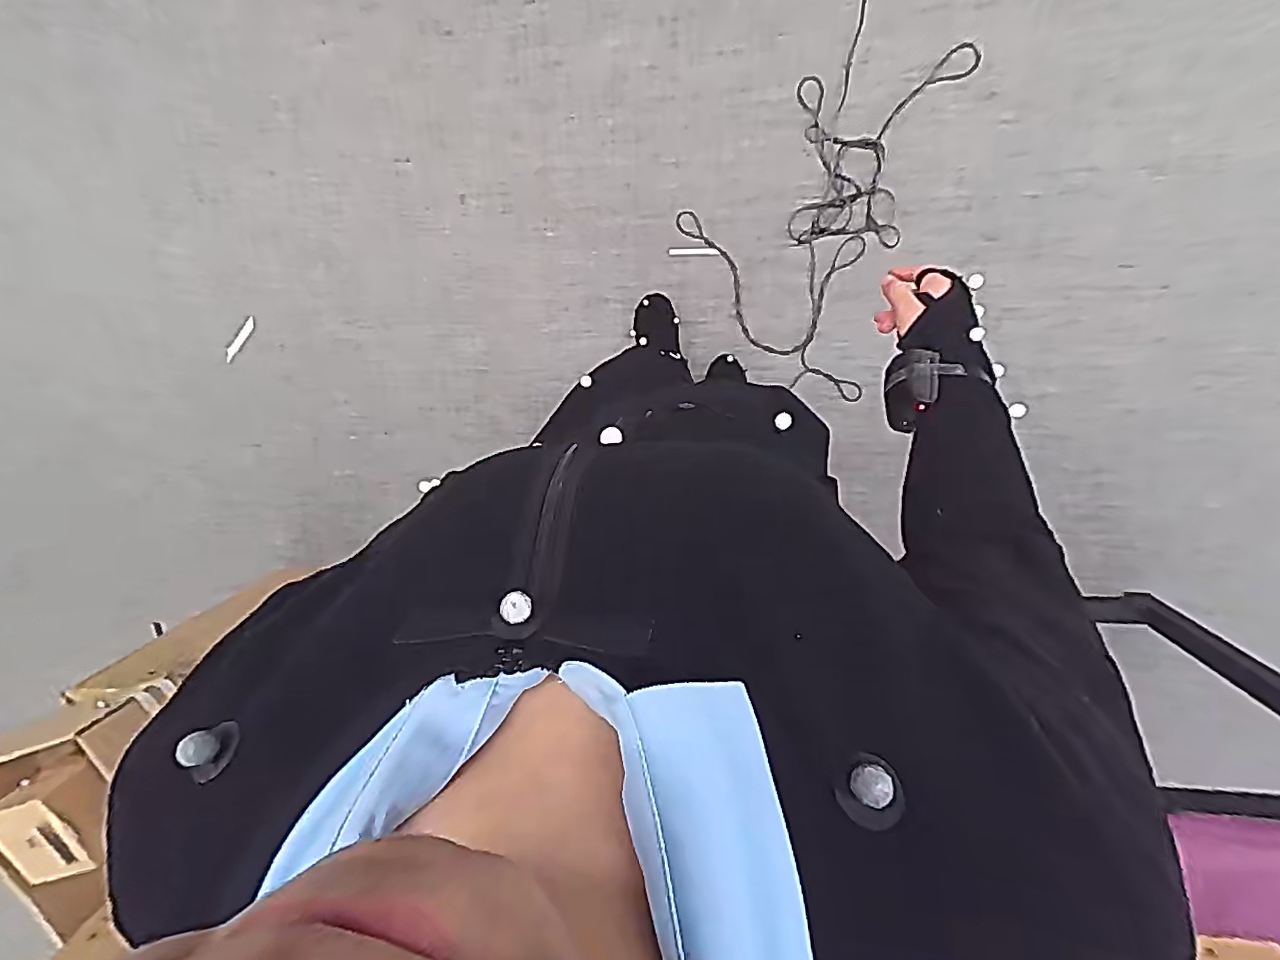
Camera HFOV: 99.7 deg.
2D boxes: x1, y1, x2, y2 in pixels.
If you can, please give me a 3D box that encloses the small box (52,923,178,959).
[{"bbox_3d":[-0.959,0.920,0.948,0.168,0.176,0.179,-16,104,10],"label":"small box"}]
